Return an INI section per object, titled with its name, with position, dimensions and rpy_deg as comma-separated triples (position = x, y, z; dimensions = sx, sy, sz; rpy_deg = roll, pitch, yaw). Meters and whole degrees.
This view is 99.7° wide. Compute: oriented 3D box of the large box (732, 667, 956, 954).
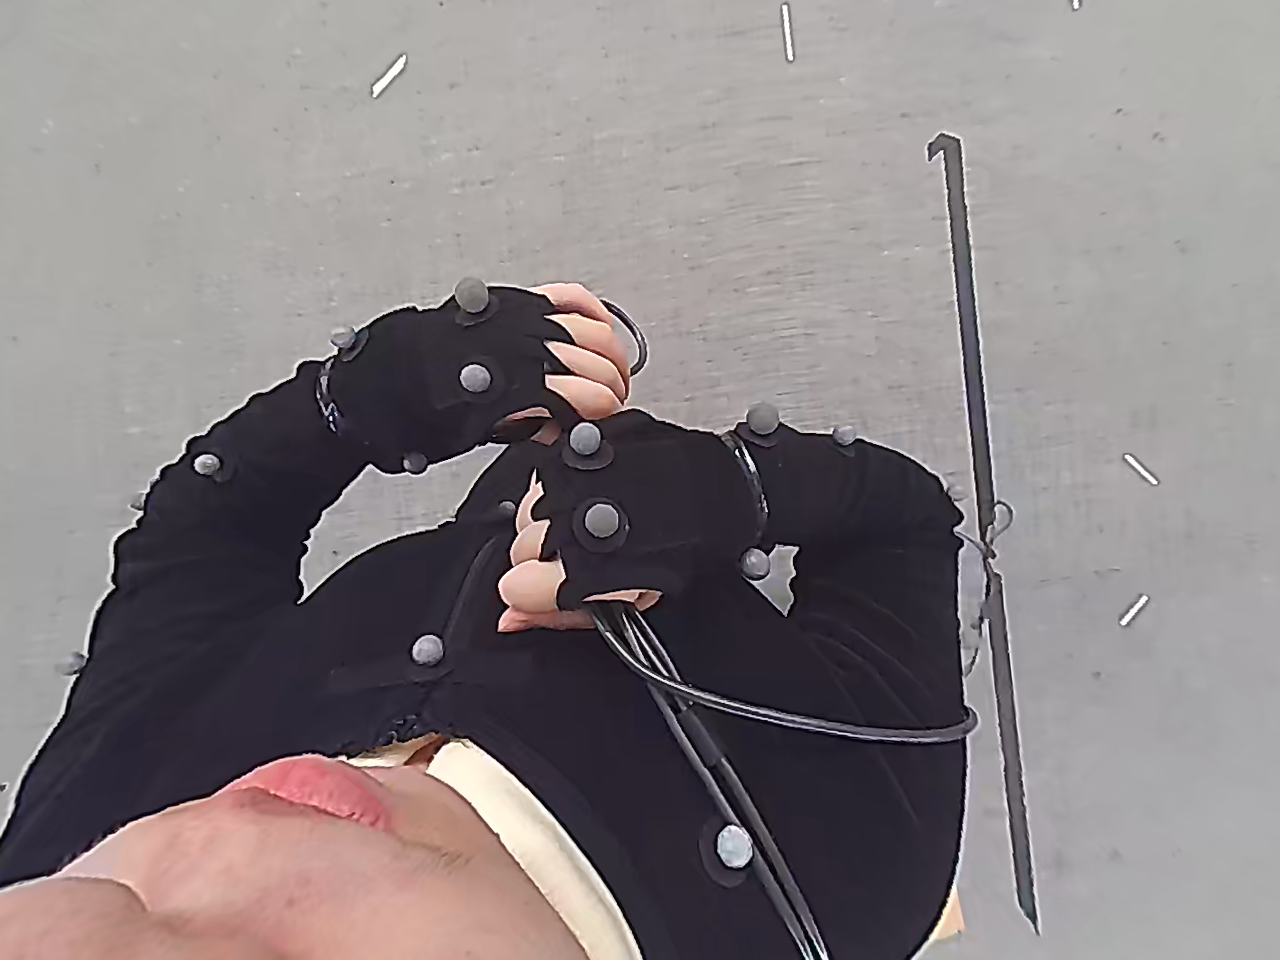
[large box]
position = 0.419, 0.687, 1.188
dimensions = 0.320, 0.320, 0.408
rpy_deg = -12, 92, 0
